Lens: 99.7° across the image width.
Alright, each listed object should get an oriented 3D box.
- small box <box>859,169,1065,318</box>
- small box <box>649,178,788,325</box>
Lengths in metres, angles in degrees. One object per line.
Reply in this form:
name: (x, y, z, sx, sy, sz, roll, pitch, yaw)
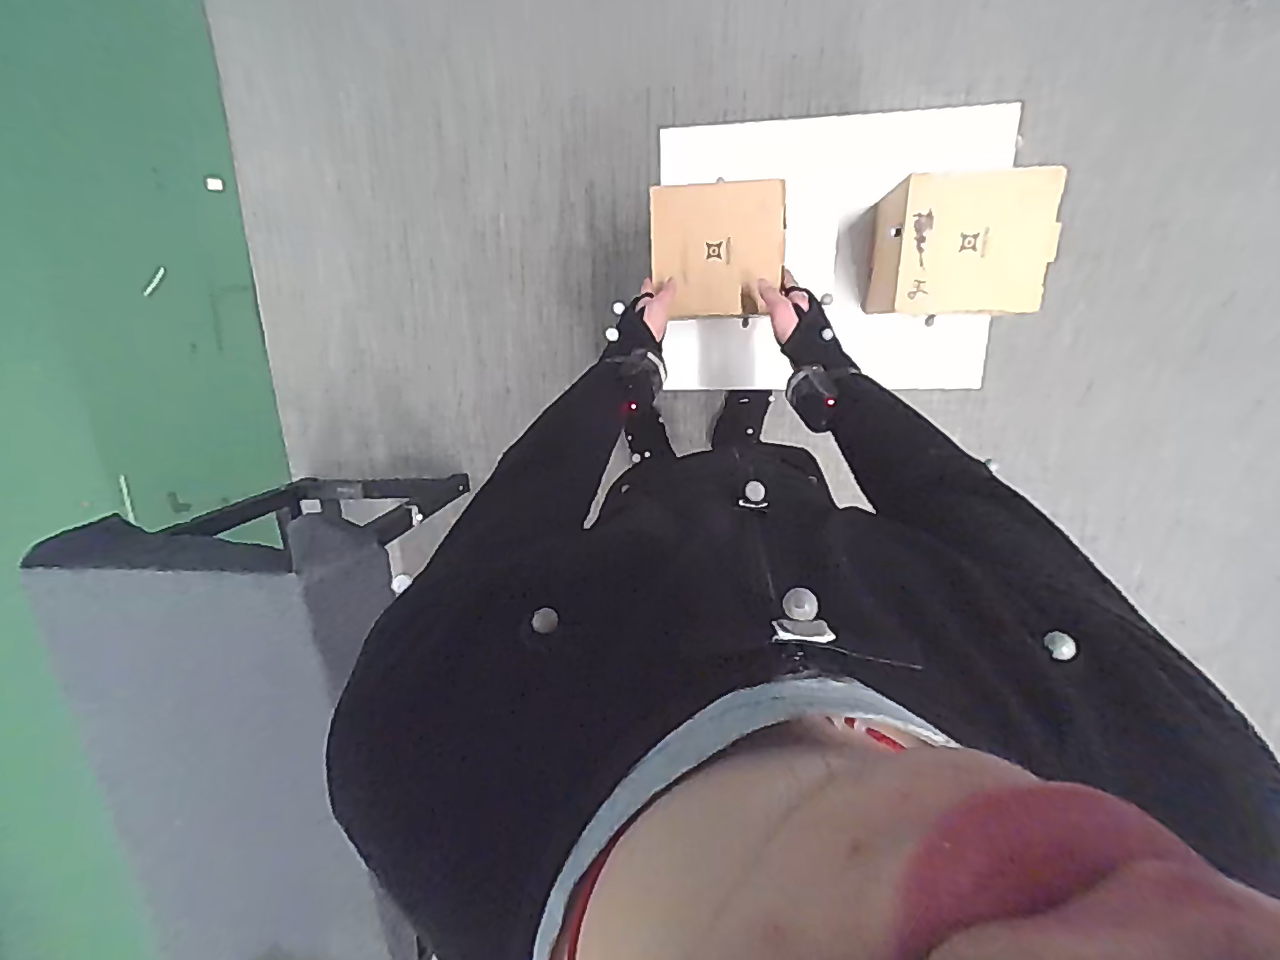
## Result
small box: (0.420, -0.311, 0.738, 0.179, 0.176, 0.168, 1, 105, 5)
small box: (0.106, -0.312, 0.769, 0.179, 0.176, 0.168, -2, 103, 6)
